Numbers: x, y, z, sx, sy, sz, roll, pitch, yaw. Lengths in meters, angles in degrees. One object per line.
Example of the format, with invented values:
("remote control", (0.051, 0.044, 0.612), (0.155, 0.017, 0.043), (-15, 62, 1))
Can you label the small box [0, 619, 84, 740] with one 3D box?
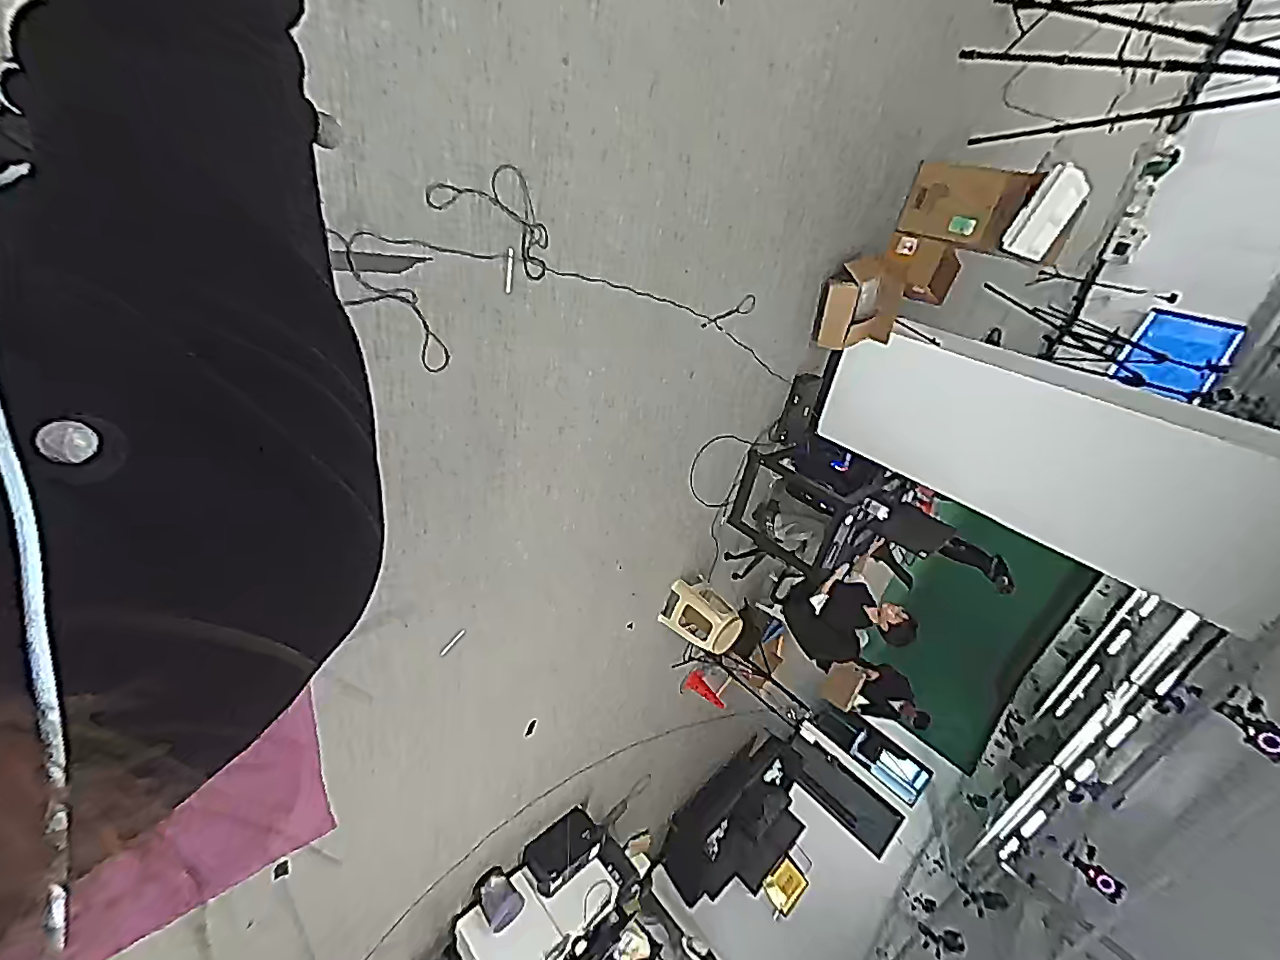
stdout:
("small box", (-1.383, 0.439, 1.195), (0.179, 0.176, 0.168), (-17, 131, -39))
